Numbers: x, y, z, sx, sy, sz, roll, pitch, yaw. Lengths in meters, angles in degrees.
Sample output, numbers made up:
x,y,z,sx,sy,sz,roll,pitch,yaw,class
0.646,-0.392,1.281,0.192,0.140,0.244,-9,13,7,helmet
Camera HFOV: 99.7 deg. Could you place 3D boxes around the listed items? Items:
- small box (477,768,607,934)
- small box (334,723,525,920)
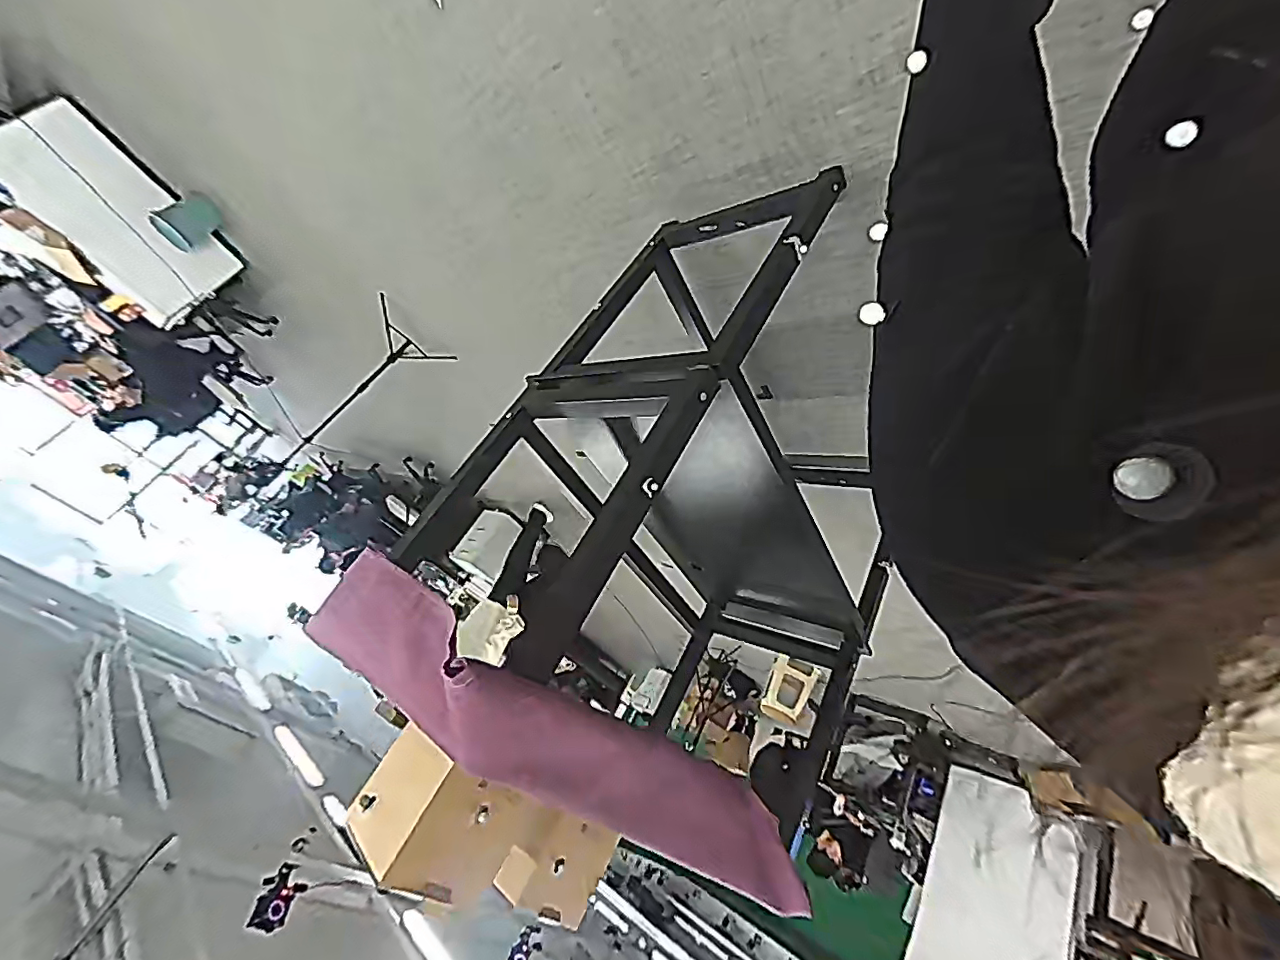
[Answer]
x,y,z,sx,sy,sz,roll,pitch,yaw,class
-0.181,0.646,0.957,0.179,0.176,0.168,3,142,46,small box
-0.300,0.482,0.787,0.179,0.176,0.168,0,141,48,small box
